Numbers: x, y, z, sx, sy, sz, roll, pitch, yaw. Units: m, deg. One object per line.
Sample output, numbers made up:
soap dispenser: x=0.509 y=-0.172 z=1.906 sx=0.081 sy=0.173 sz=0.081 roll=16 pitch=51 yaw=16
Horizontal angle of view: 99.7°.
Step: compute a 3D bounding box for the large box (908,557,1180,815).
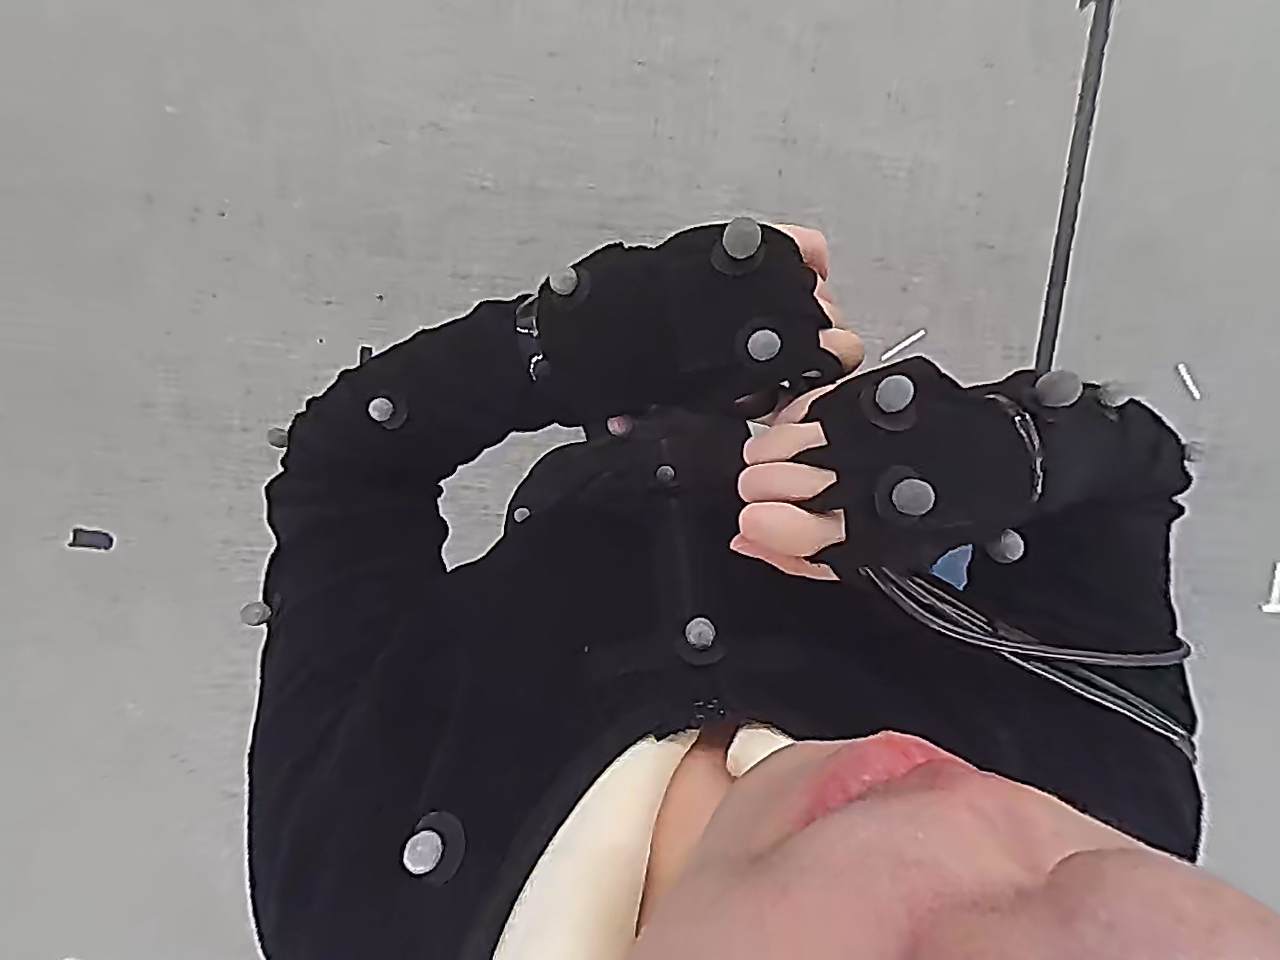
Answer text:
large box: x=0.914 y=0.452 z=1.265 sx=0.320 sy=0.320 sz=0.408 roll=-26 pitch=98 yaw=0
